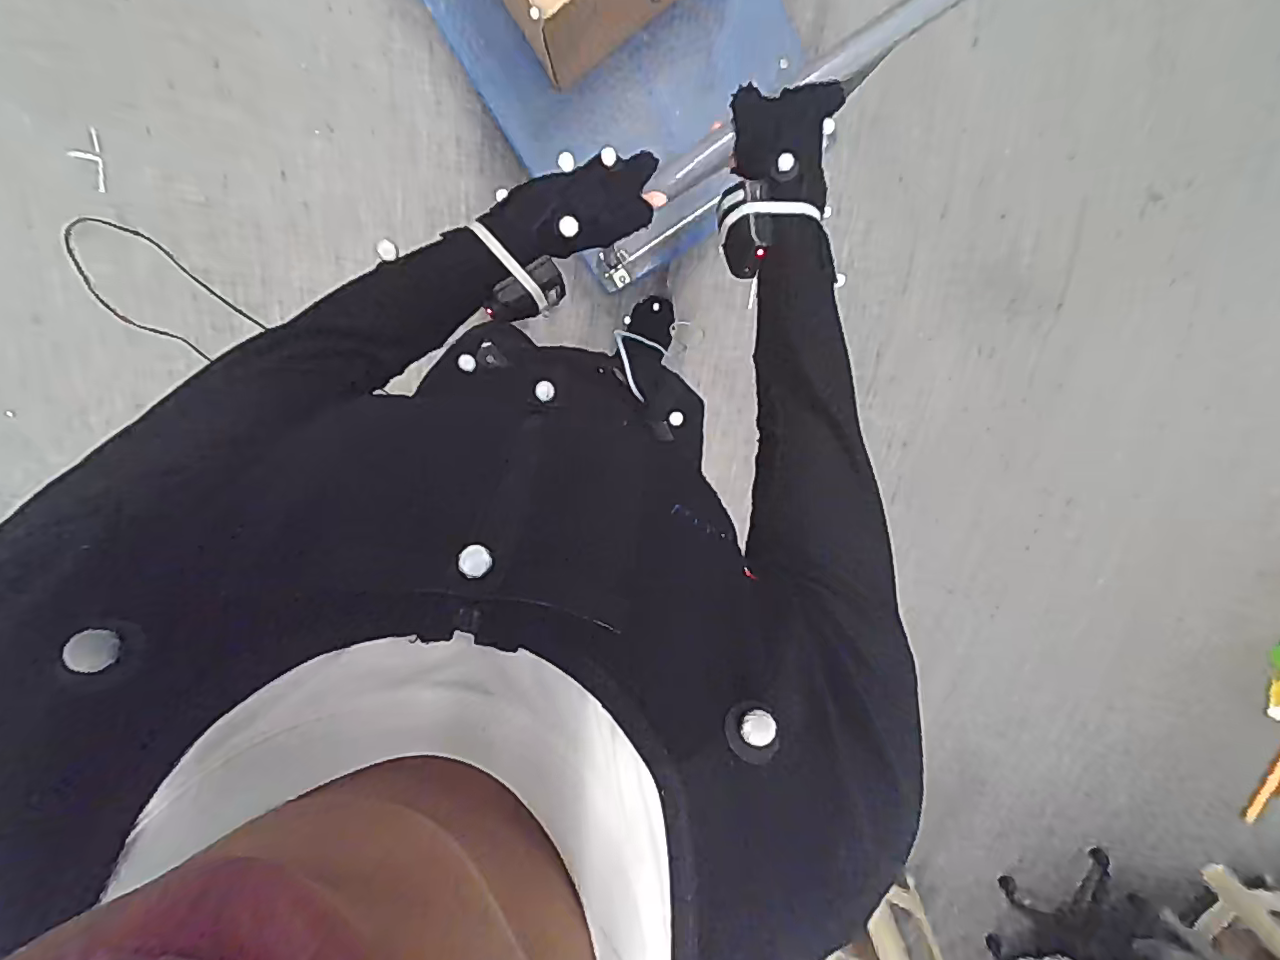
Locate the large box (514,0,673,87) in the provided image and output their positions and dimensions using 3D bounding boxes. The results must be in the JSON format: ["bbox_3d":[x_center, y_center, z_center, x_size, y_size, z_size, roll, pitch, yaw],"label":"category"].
[{"bbox_3d":[-0.056,-0.939,0.844,0.408,0.320,0.320,-34,107,10],"label":"large box"}]
